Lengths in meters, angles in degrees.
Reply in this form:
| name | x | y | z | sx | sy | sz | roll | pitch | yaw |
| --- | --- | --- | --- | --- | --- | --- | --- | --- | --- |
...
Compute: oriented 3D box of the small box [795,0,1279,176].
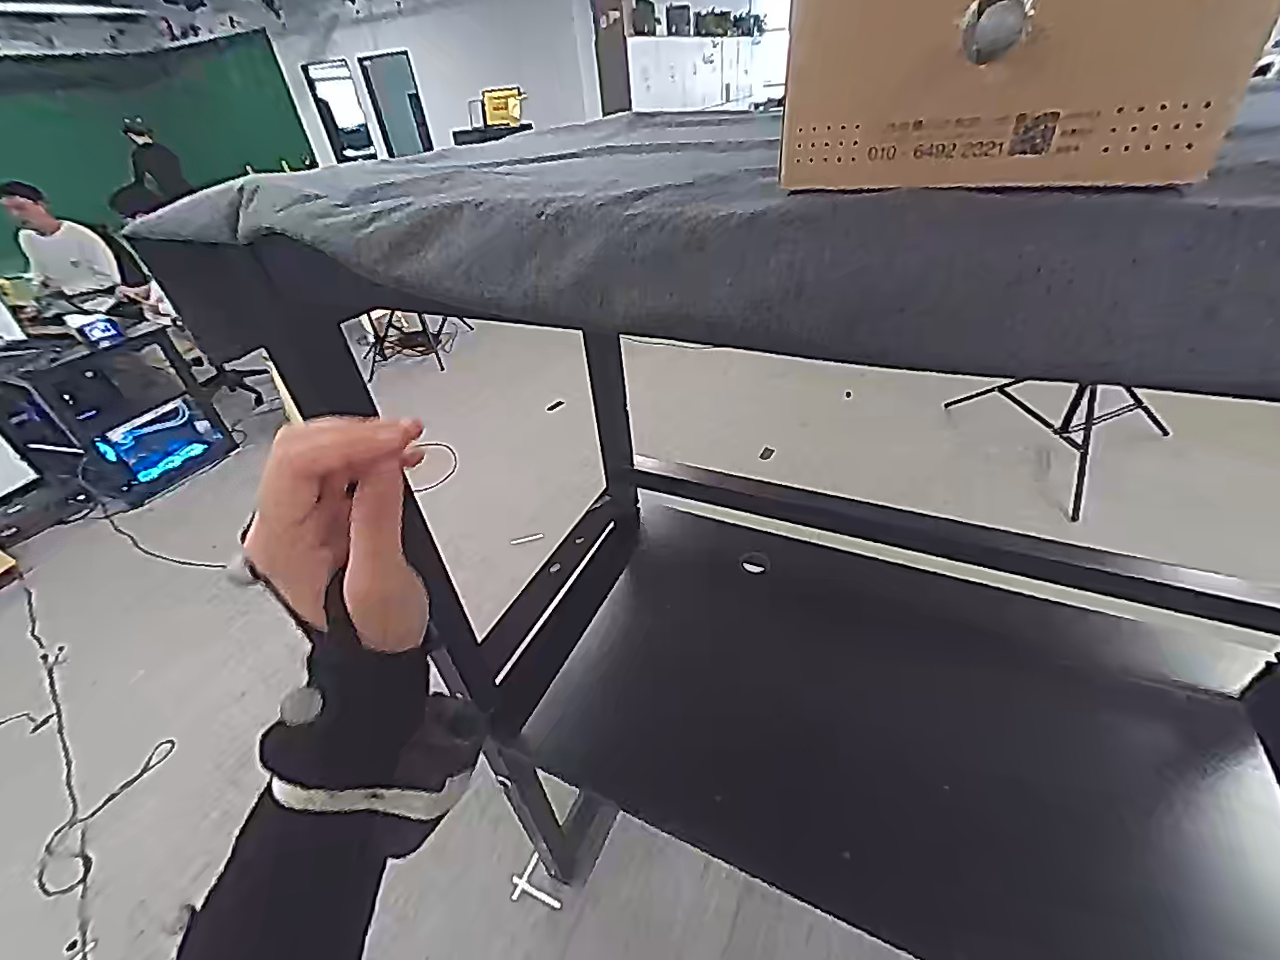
| name | x | y | z | sx | sy | sz | roll | pitch | yaw |
| --- | --- | --- | --- | --- | --- | --- | --- | --- | --- |
| small box | 0.176 | -0.249 | 0.253 | 0.168 | 0.176 | 0.179 | 12 | 38 | 24 |
